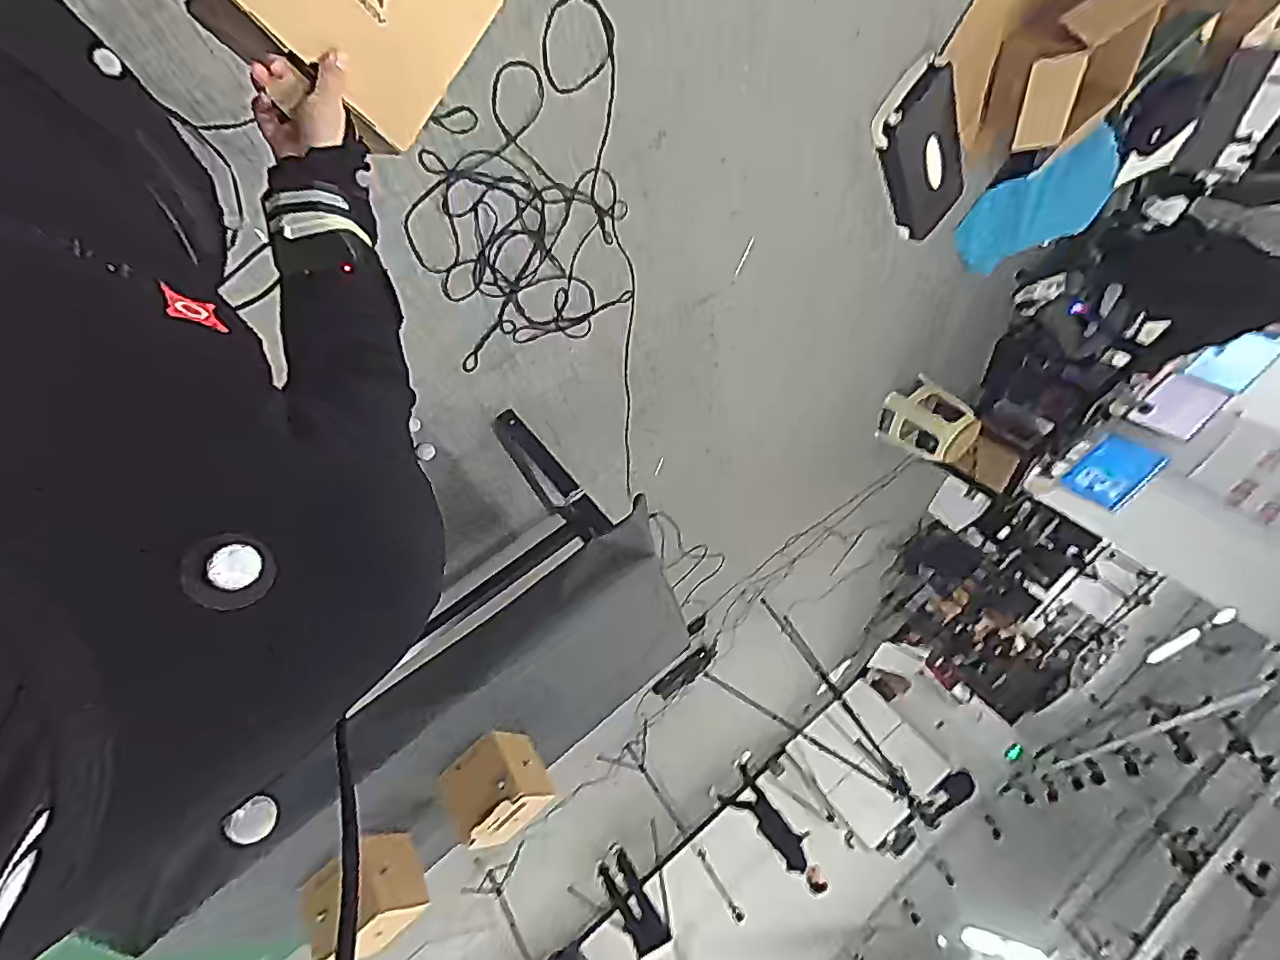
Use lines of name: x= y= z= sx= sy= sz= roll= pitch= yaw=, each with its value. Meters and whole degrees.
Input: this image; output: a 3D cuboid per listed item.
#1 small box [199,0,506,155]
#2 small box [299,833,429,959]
small box: x=-0.264 y=-0.434 z=0.491 sx=0.179 sy=0.176 sz=0.168 roll=-56 pitch=139 yaw=0
small box: x=-0.611 y=0.918 z=1.195 sx=0.168 sy=0.176 sz=0.179 roll=-40 pitch=146 yaw=-6
